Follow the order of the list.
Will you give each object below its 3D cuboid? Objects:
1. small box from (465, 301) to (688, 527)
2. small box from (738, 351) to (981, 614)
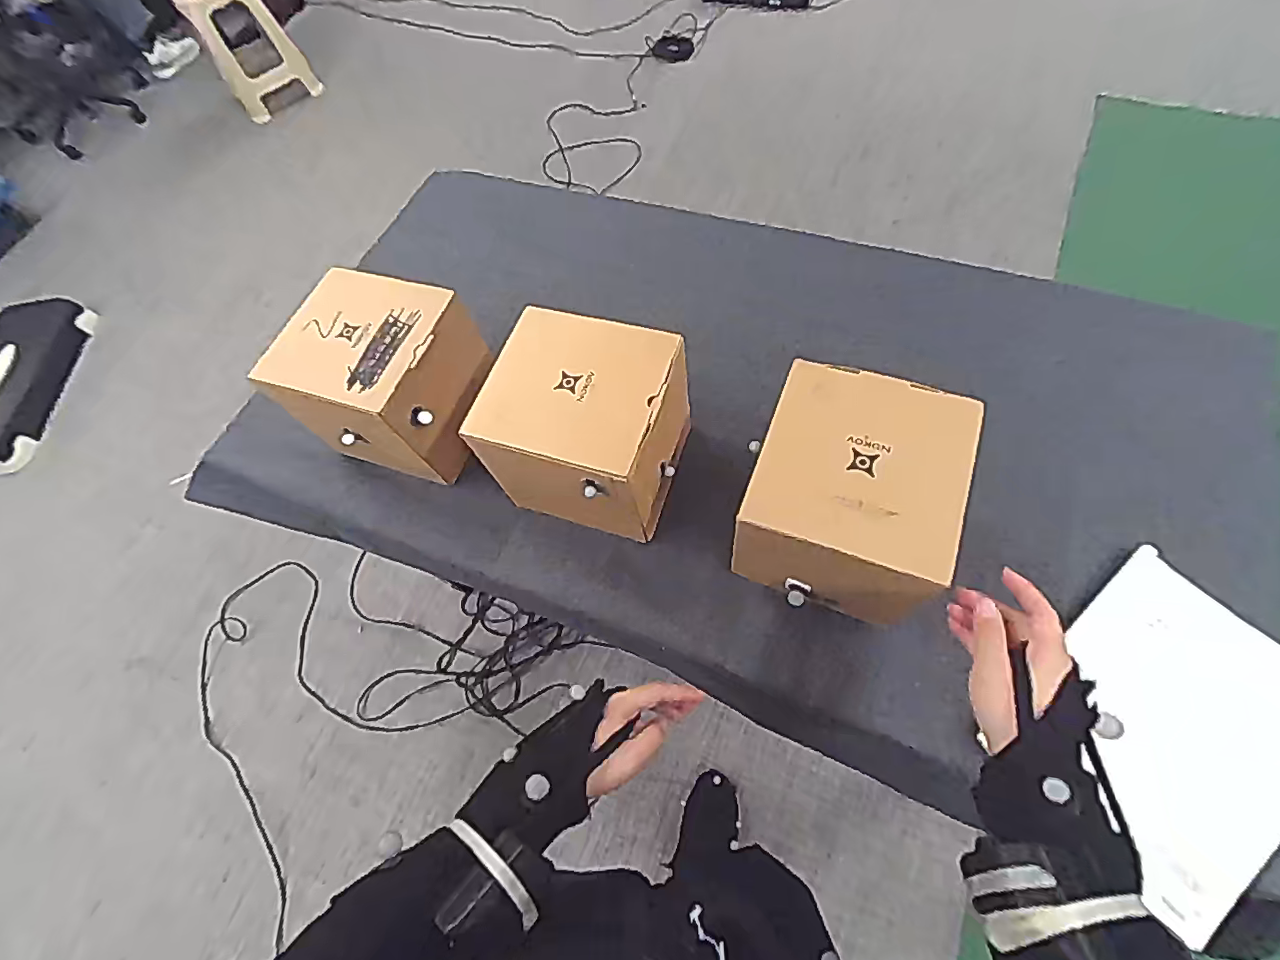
[{"bbox_3d":[-0.053,-0.065,0.595,0.179,0.176,0.168,15,67,13],"label":"small box"},{"bbox_3d":[0.197,0.009,0.528,0.168,0.176,0.179,18,69,16],"label":"small box"}]
